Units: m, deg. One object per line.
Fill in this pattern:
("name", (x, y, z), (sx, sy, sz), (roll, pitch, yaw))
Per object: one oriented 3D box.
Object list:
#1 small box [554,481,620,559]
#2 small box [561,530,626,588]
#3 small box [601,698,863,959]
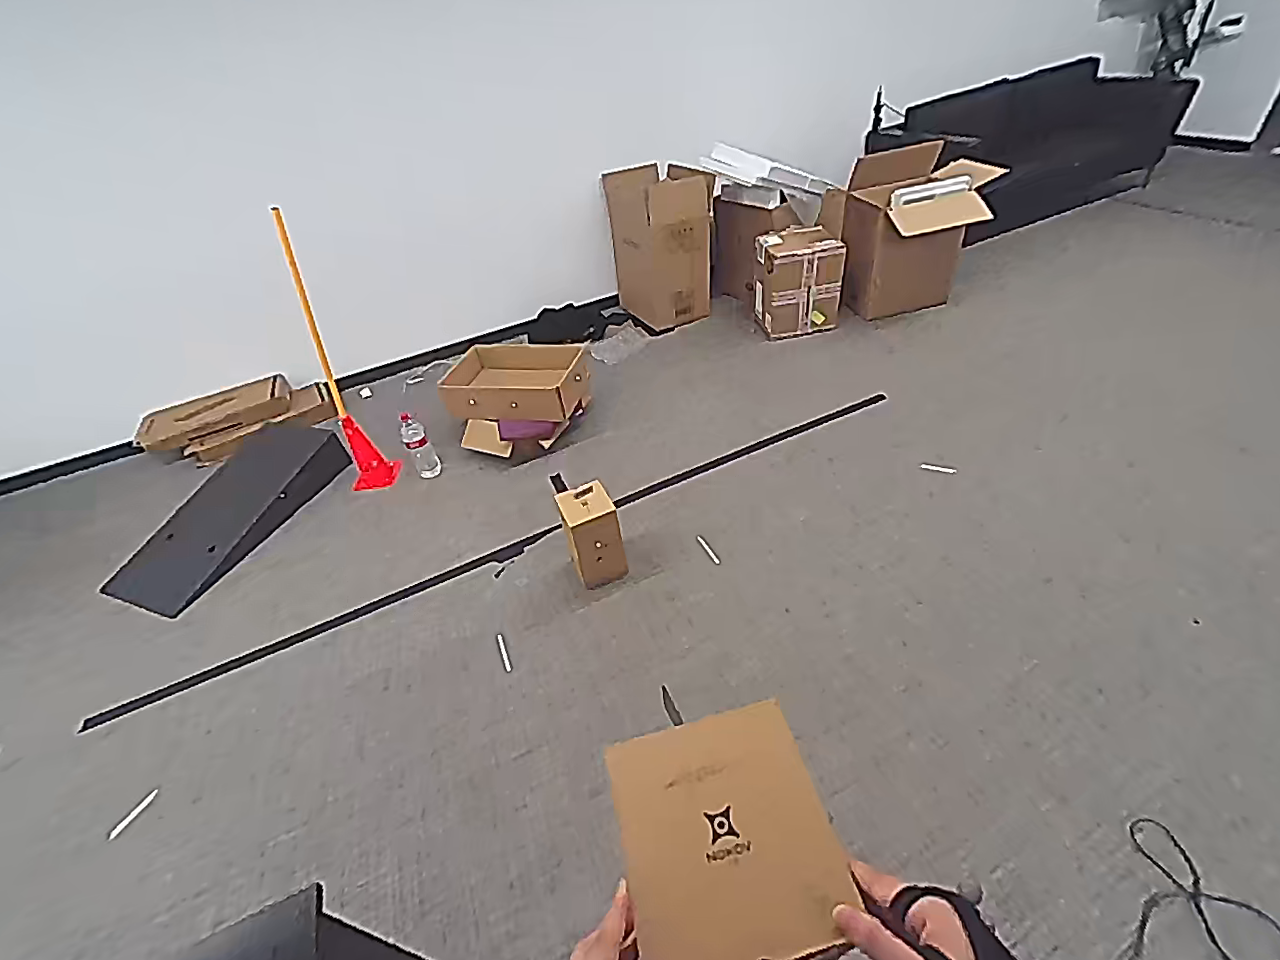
("small box", (-0.180, 0.139, 1.854), (0.168, 0.176, 0.179), (-21, 43, -14))
("small box", (-0.167, 0.261, 1.964), (0.179, 0.176, 0.168), (-21, 42, -14))
("small box", (0.069, 0.332, 0.486), (0.168, 0.176, 0.179), (-13, 44, -7))
